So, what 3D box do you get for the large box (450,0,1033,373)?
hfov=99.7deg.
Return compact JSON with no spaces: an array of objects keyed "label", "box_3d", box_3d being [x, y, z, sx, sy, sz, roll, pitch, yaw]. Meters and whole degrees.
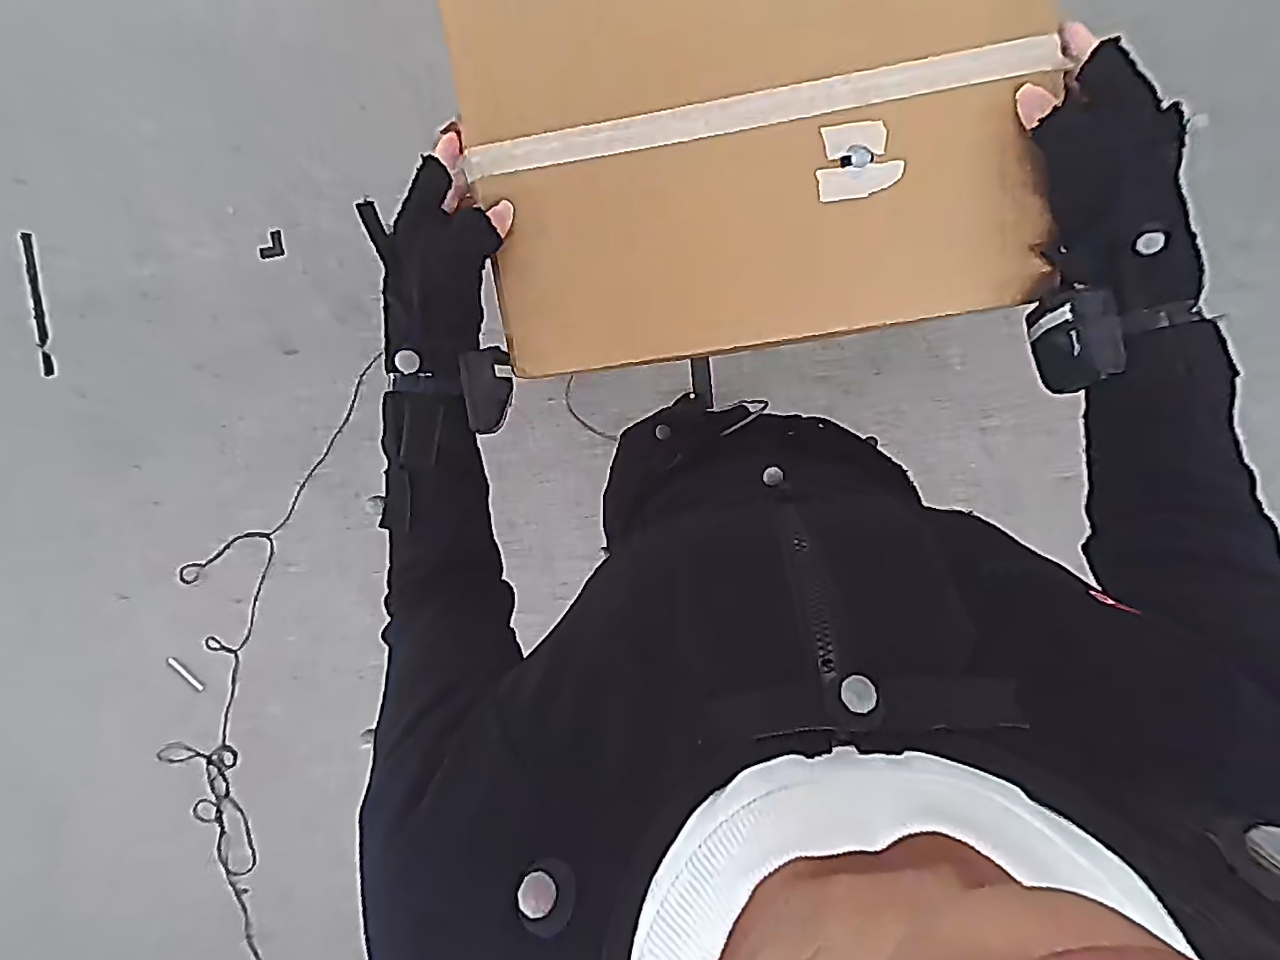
[{"label":"large box","box_3d":[0.083,-0.293,0.538,0.408,0.320,0.320,-8,102,4]}]
